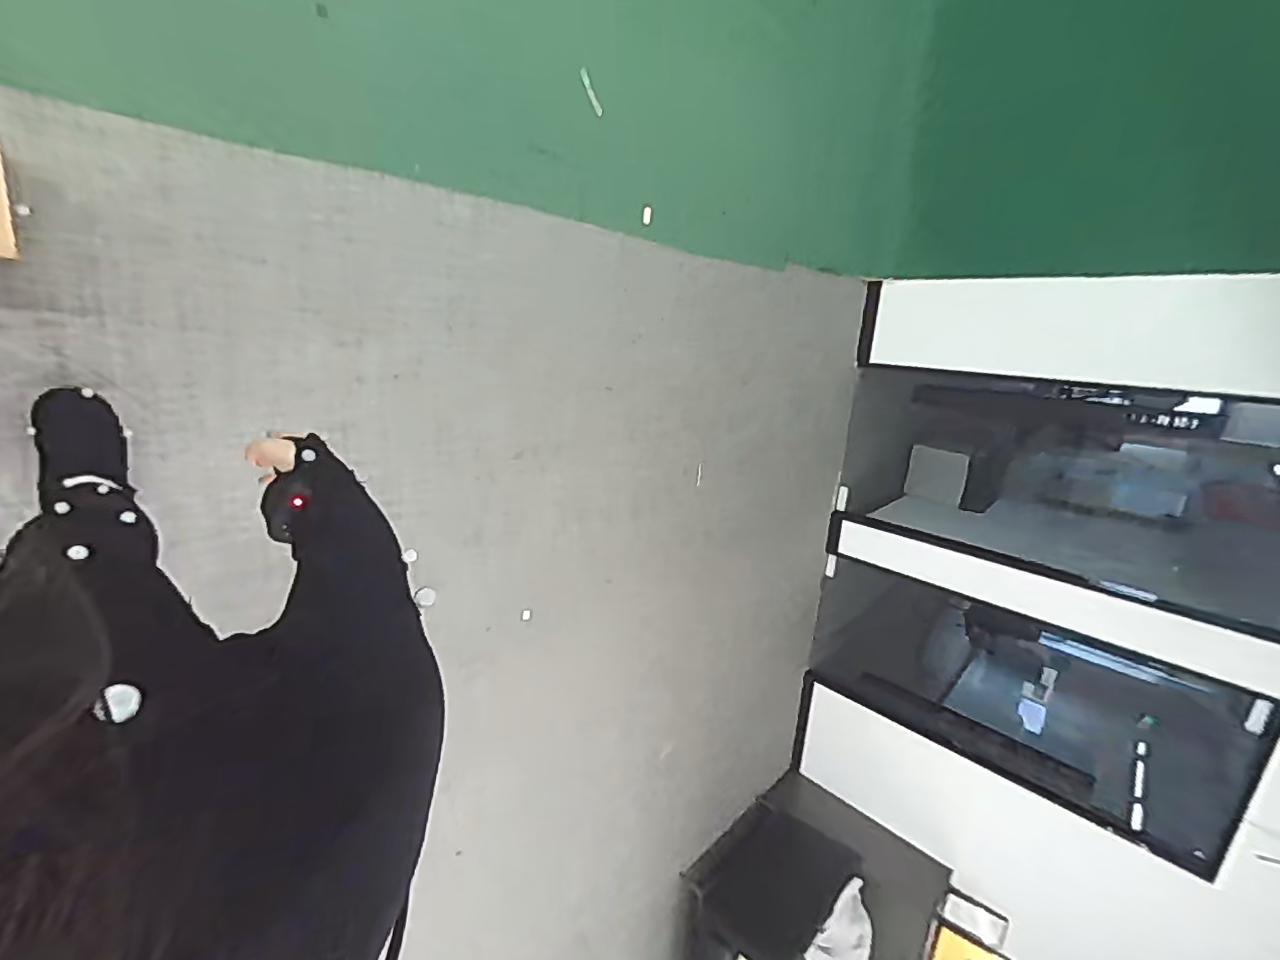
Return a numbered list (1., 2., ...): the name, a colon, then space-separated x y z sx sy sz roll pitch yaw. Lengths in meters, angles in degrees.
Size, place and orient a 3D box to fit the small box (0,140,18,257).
1. small box: -0.982 -0.401 0.727 0.179 0.176 0.168 -8 110 -47
